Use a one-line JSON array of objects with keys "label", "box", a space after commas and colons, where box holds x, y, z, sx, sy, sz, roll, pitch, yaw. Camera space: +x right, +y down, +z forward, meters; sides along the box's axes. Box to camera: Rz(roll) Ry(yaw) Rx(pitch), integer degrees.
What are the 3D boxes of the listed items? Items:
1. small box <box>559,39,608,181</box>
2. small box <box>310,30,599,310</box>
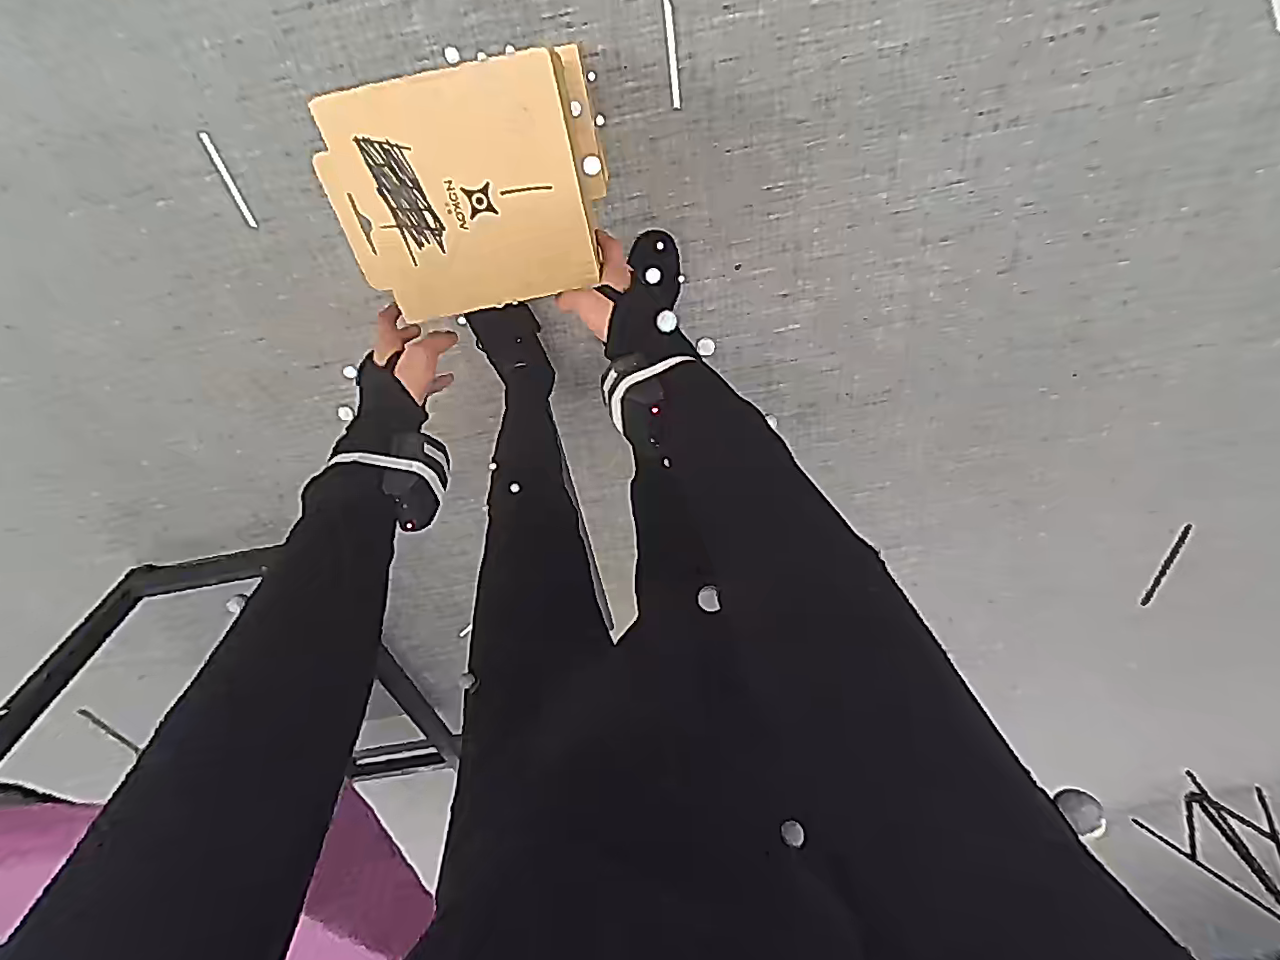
[{"label": "small box", "box": [-0.147, -0.576, 0.866, 0.168, 0.176, 0.179, -12, 127, 5]}, {"label": "small box", "box": [-0.136, -0.270, 0.477, 0.179, 0.176, 0.168, -11, 127, 2]}]
